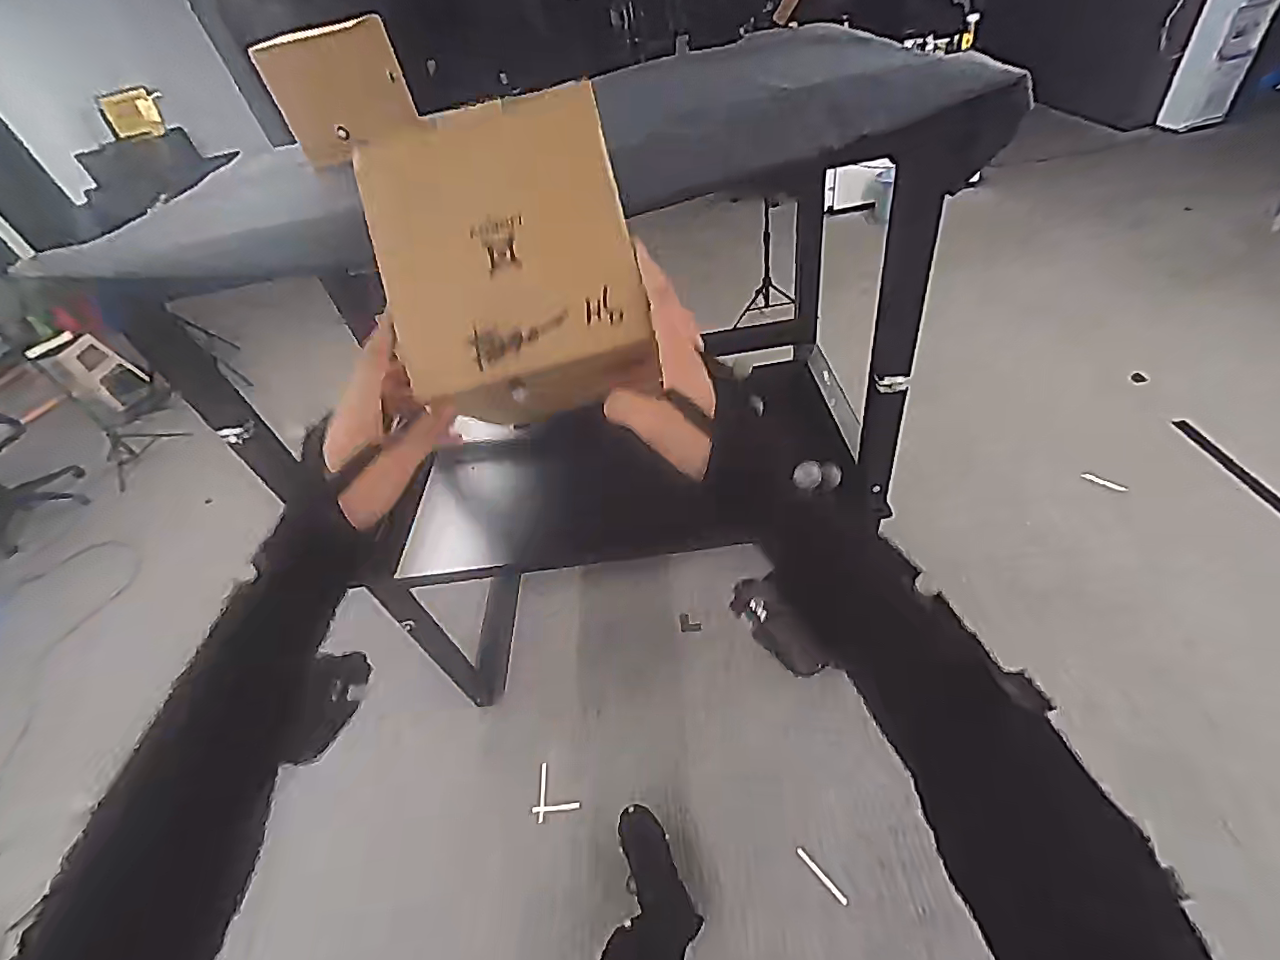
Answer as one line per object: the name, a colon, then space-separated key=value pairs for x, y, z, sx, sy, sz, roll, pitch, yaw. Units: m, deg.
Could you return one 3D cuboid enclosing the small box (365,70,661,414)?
small box: x=-0.082 y=-0.164 z=0.432 sx=0.168 sy=0.176 sz=0.179 roll=-14 pitch=88 yaw=3
